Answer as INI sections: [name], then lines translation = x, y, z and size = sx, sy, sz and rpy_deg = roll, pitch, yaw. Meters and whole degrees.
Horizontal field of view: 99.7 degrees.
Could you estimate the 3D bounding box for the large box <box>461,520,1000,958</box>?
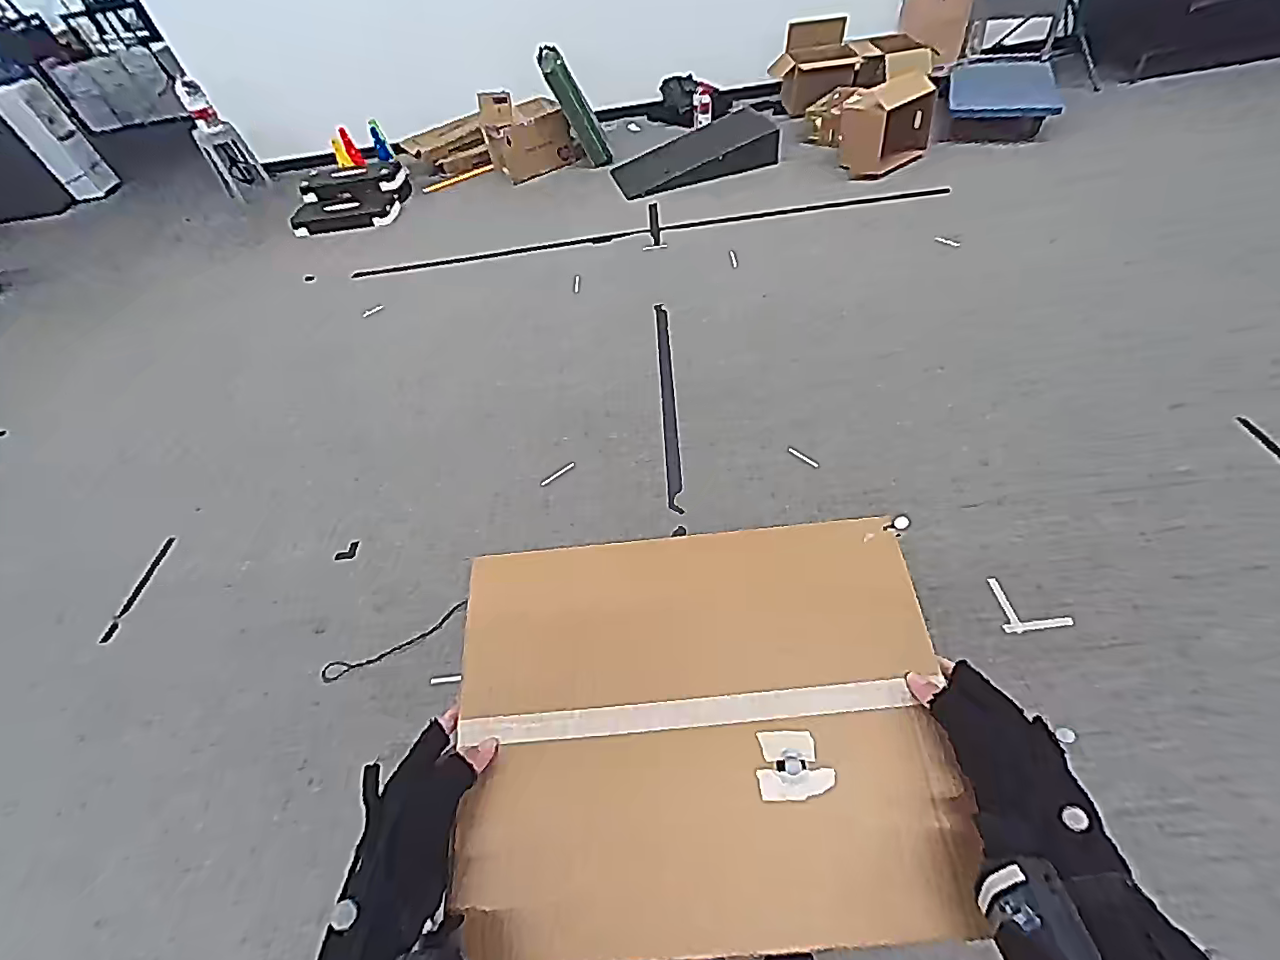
[large box]
translation = 0.060, 0.266, 0.592
size = 0.408, 0.320, 0.320
rpy_deg = -6, 61, 1
